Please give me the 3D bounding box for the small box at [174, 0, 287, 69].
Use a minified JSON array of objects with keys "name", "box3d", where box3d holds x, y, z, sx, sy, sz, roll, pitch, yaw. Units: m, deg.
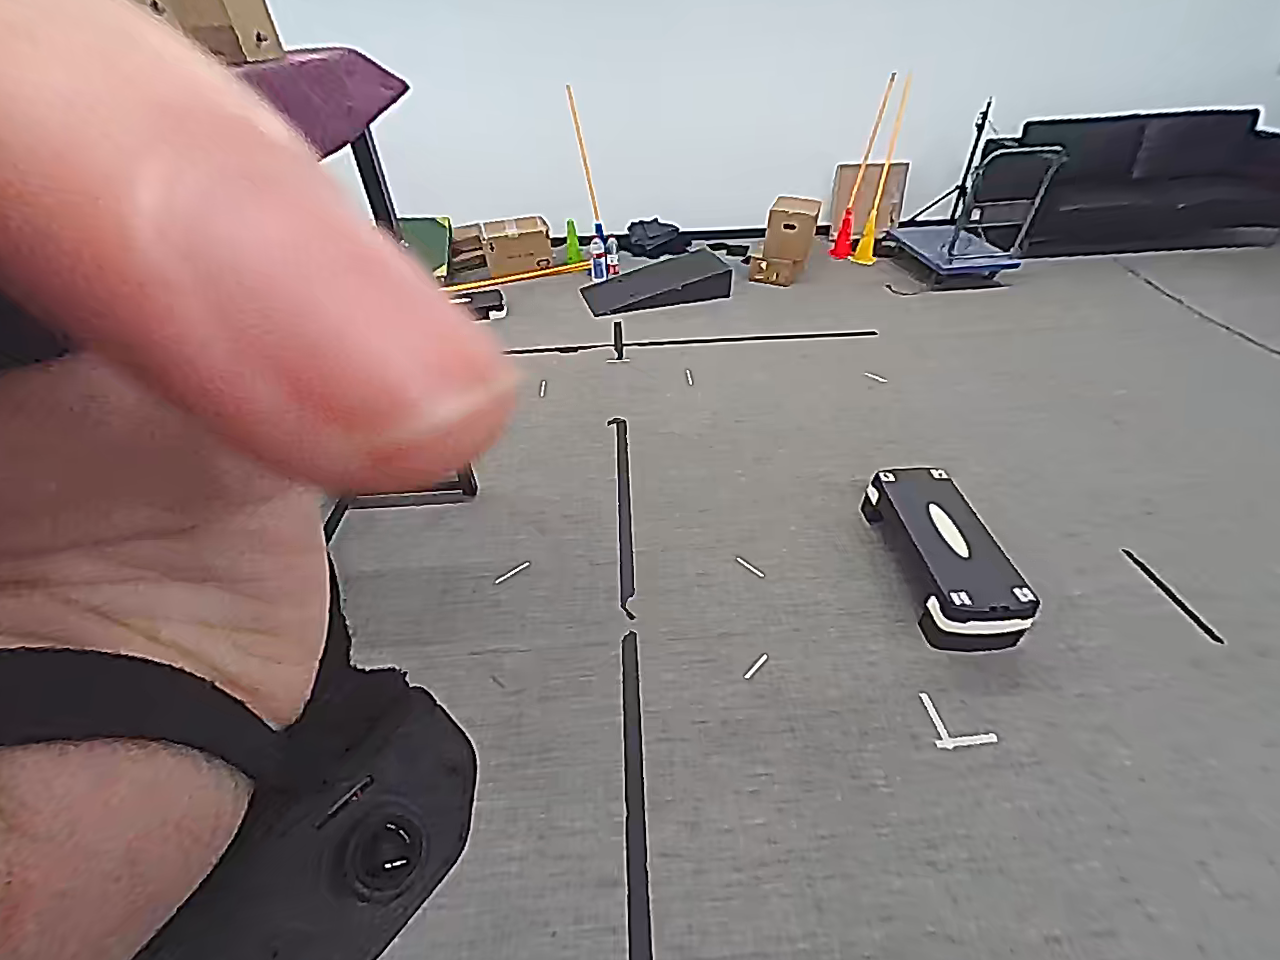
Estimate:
[{"name":"small box","box3d":[-0.902,-0.994,1.162,0.168,0.176,0.179,-2,40,1]}]
